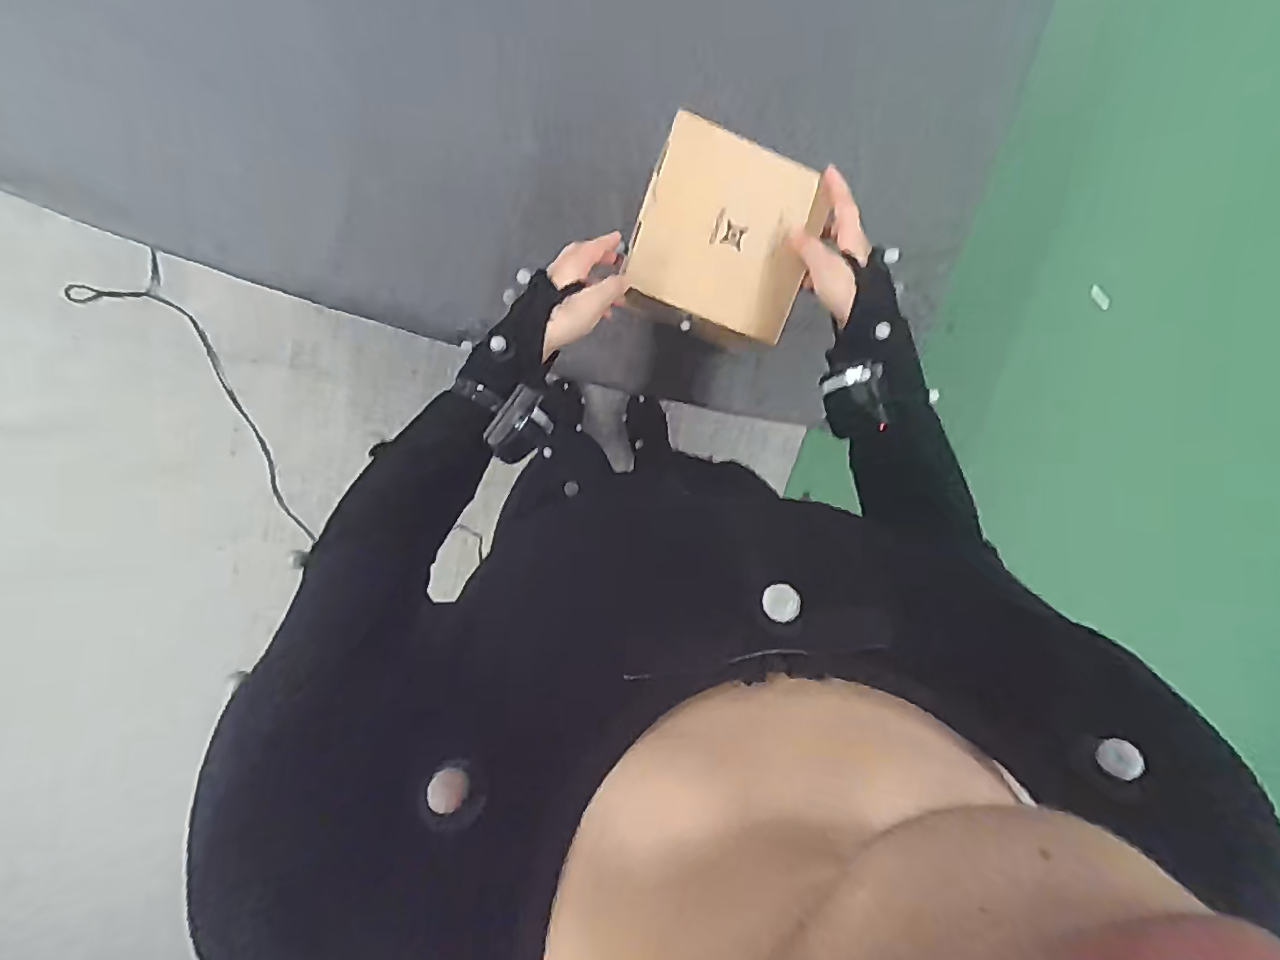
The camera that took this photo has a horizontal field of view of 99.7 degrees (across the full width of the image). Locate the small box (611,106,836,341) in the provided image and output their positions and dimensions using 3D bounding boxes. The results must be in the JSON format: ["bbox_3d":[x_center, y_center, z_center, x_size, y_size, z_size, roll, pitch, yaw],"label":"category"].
[{"bbox_3d":[0.074,-0.259,0.598,0.179,0.176,0.168,18,100,-11],"label":"small box"}]
